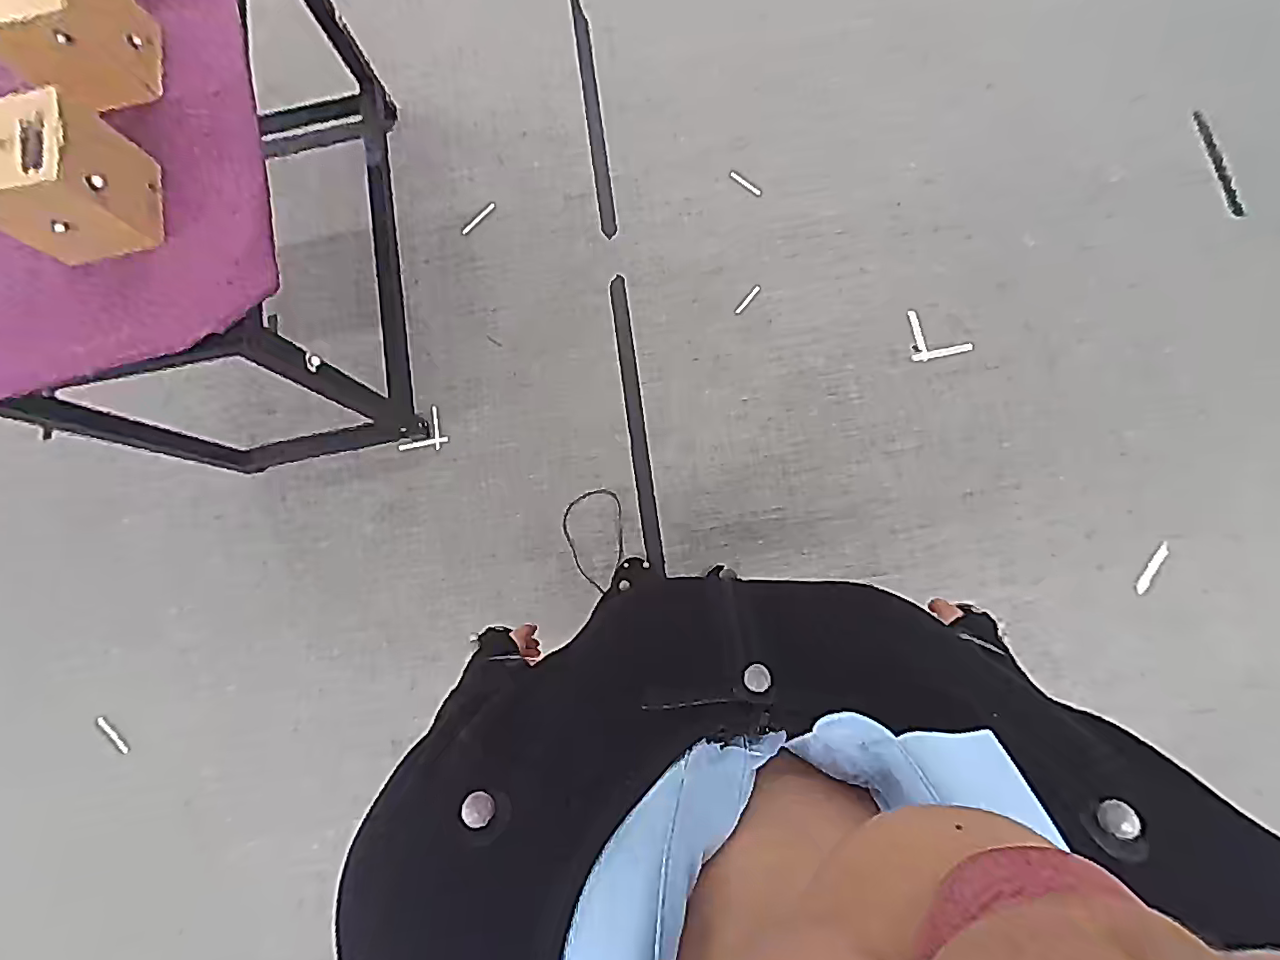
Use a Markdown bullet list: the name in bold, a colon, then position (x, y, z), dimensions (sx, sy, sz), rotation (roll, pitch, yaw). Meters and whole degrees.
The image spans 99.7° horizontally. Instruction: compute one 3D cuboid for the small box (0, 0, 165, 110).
- **small box**: position (-0.988, -0.789, 0.943), dimensions (0.179, 0.176, 0.168), rotation (-10, 80, 2)
